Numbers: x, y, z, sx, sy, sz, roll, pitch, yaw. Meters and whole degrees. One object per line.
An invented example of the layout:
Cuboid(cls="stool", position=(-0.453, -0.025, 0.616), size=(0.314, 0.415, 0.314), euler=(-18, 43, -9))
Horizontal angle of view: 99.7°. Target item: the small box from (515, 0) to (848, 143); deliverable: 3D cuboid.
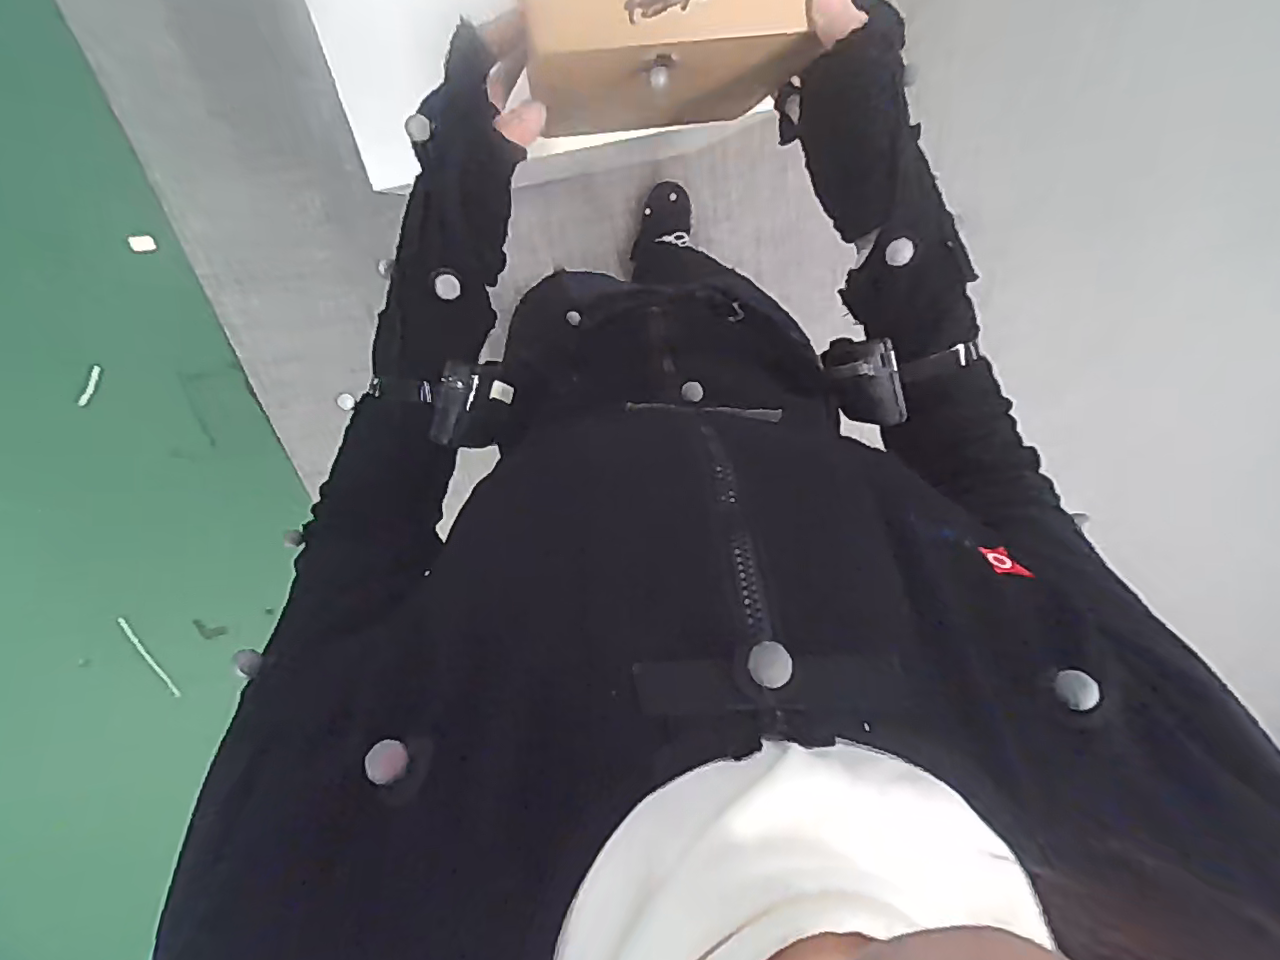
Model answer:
Cuboid(cls="small box", position=(0.005, -0.326, 0.318), size=(0.168, 0.176, 0.179), euler=(-10, 111, -6))
